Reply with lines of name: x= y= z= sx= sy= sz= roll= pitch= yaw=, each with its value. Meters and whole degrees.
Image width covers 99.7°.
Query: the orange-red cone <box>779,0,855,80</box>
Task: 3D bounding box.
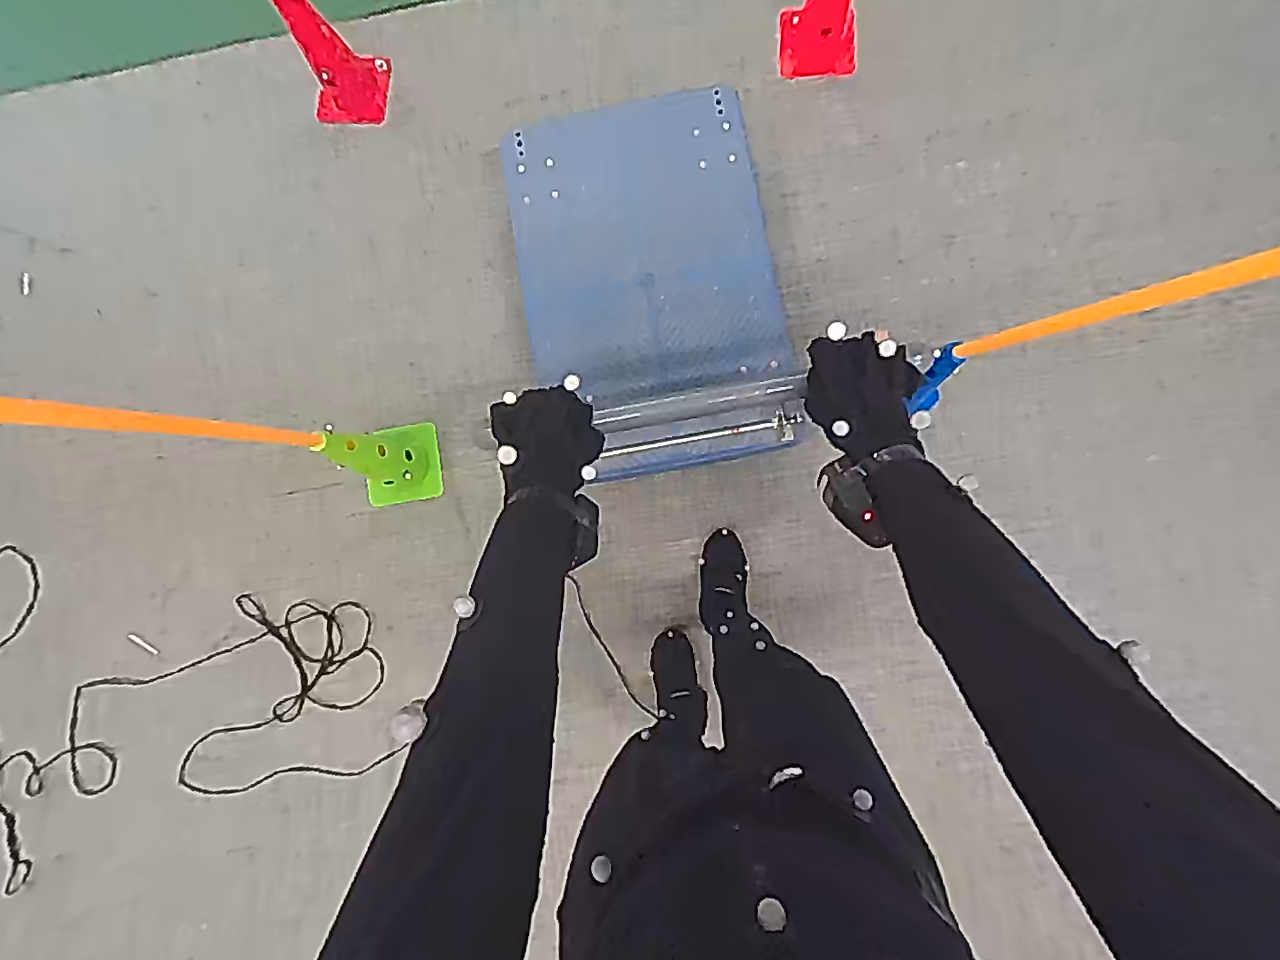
orange-red cone: x=0.465 y=-1.188 z=1.289 sx=0.198 sy=0.360 sz=0.199 roll=2 pitch=85 yaw=4
